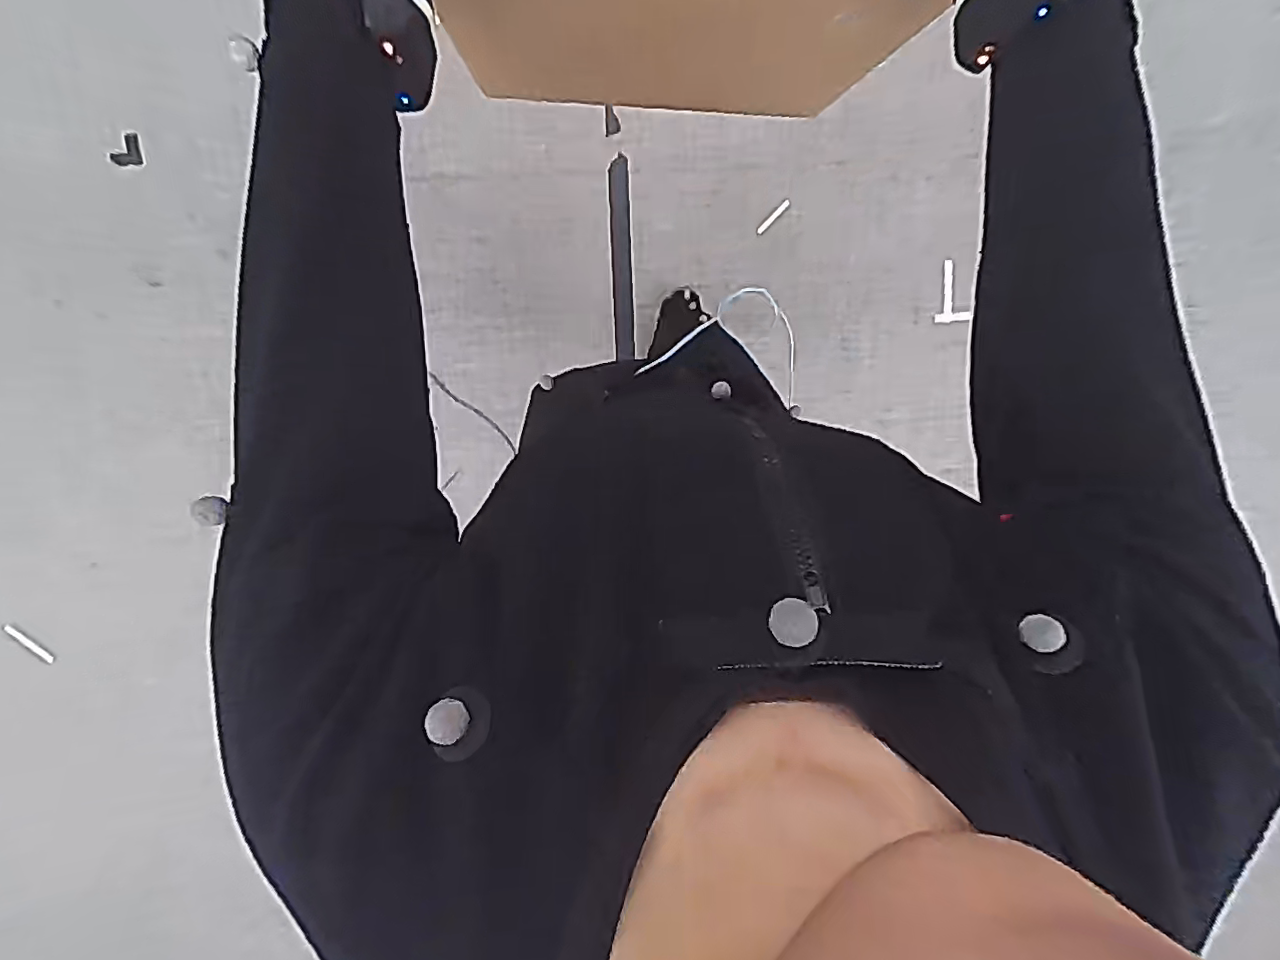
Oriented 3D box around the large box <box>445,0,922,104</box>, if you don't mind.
[{"bbox_3d":[0.030,-0.558,0.465,0.408,0.320,0.320,0,110,-5],"label":"large box"}]
